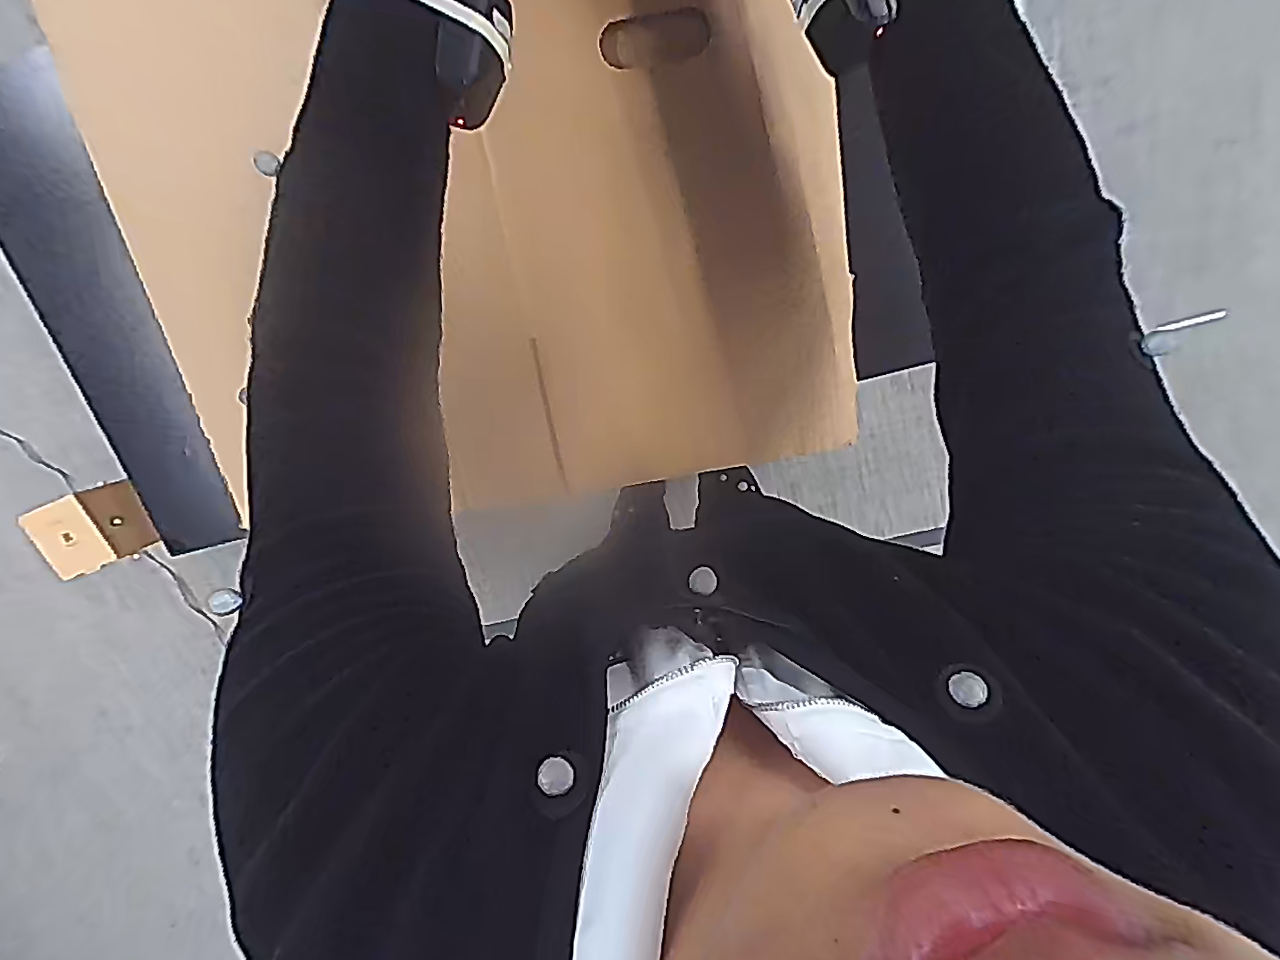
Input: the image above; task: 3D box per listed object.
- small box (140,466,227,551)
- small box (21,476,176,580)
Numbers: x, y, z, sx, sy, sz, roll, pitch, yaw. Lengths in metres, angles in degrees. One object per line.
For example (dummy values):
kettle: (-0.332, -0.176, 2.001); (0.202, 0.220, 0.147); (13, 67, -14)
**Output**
small box: (-1.298, 0.072, 1.480); (0.168, 0.176, 0.179); (-18, 105, 8)
small box: (-1.307, 0.112, 1.323); (0.168, 0.176, 0.179); (-21, 104, 8)
